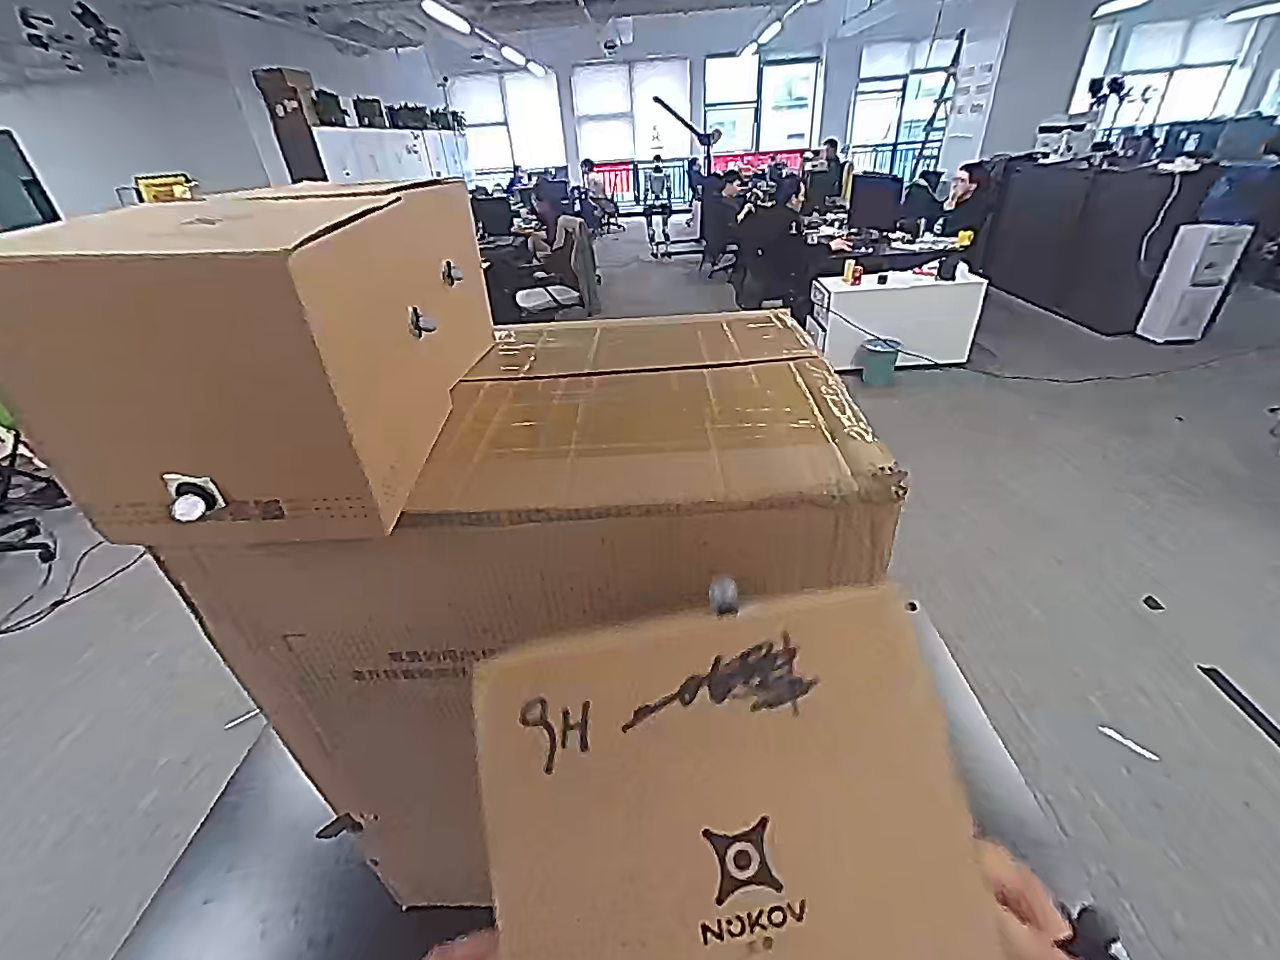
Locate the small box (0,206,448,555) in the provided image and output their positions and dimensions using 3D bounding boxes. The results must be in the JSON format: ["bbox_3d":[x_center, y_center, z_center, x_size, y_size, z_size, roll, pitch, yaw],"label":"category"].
[{"bbox_3d":[-0.238,-0.072,0.354,0.168,0.176,0.179,-4,36,-2],"label":"small box"}]

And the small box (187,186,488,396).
[{"bbox_3d":[-0.256,-0.177,0.515,0.168,0.176,0.179,-1,32,5],"label":"small box"}]
